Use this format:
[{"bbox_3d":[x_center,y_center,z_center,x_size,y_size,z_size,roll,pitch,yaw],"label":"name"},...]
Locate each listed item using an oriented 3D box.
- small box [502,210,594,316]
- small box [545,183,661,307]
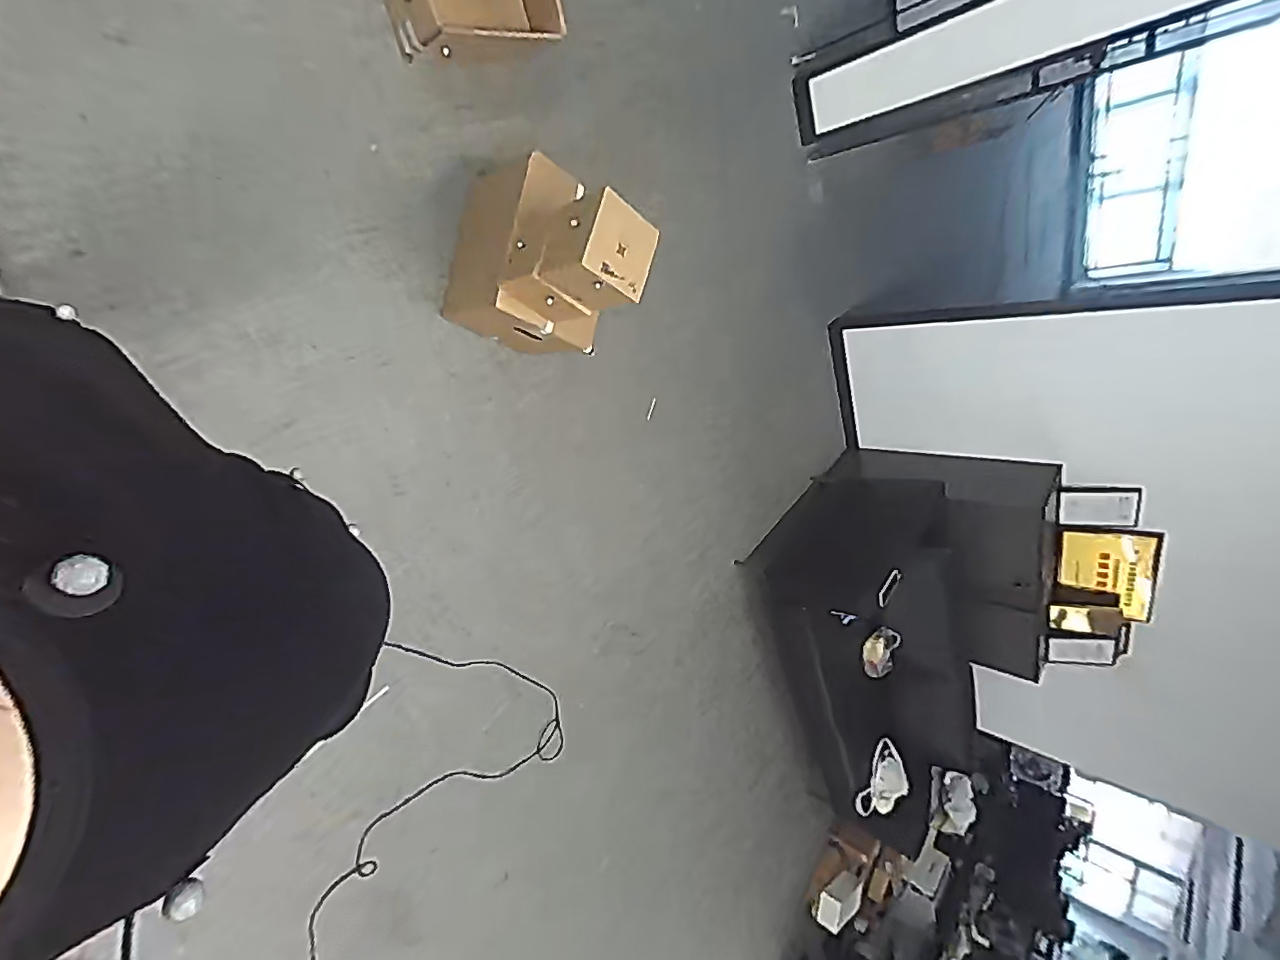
[{"bbox_3d":[-0.199,-0.513,1.307,0.179,0.176,0.168,27,80,-41],"label":"small box"},{"bbox_3d":[-0.086,-0.504,1.188,0.168,0.176,0.179,21,83,-41],"label":"small box"}]
